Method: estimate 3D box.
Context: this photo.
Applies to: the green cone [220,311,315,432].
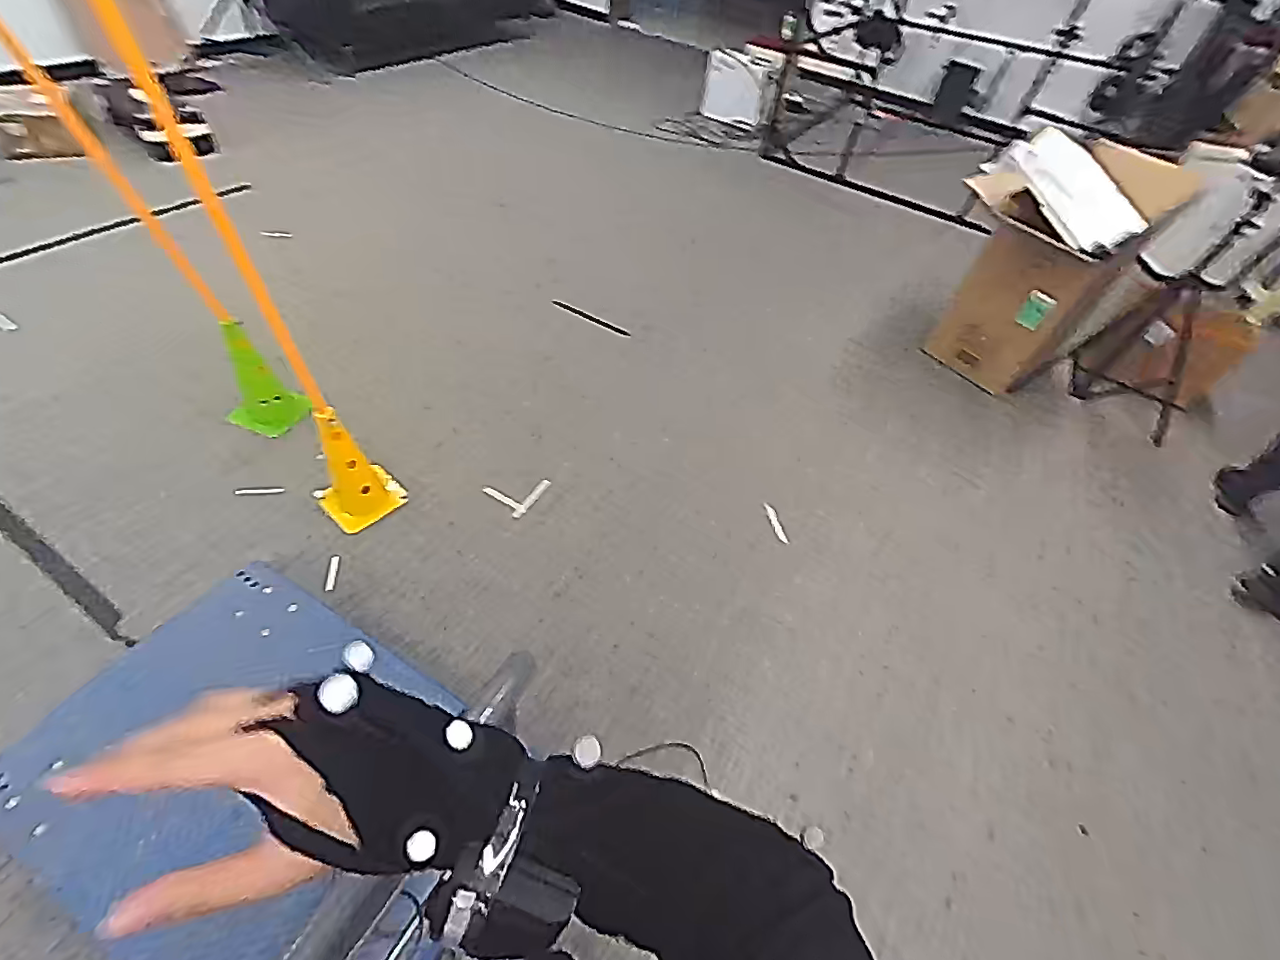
[{"bbox_3d":[-1.211,-0.356,1.679,0.202,0.368,0.200,19,50,6],"label":"green cone"}]
